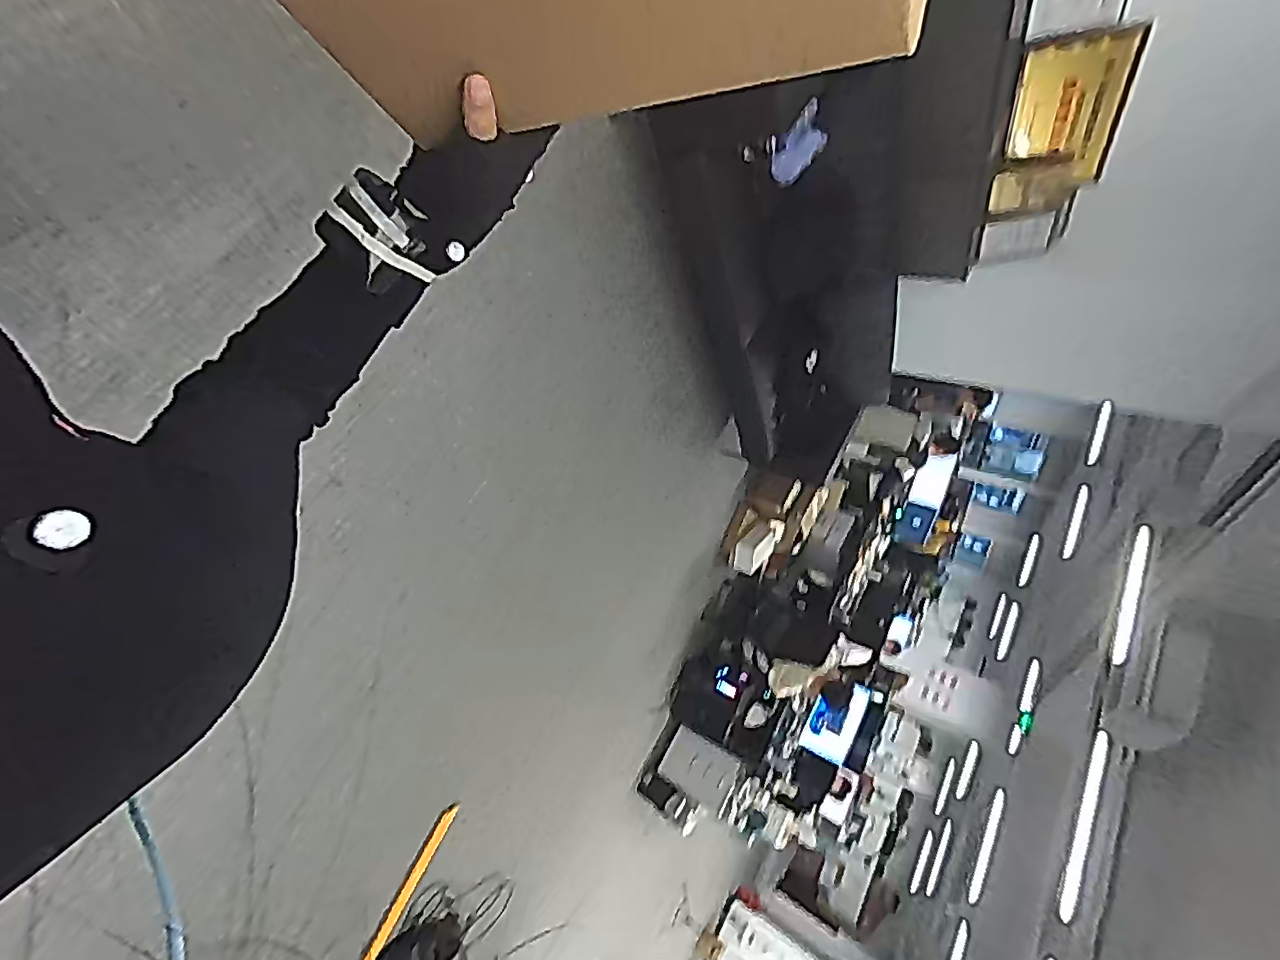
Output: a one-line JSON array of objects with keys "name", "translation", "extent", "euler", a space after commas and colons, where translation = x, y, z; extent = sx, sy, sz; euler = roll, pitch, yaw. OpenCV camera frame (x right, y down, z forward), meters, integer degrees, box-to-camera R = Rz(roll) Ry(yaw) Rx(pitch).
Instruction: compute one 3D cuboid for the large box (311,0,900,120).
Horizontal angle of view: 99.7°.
[{"name": "large box", "translation": [-0.066, -0.413, 0.159], "extent": [0.408, 0.320, 0.320], "euler": [27, 74, -64]}]
